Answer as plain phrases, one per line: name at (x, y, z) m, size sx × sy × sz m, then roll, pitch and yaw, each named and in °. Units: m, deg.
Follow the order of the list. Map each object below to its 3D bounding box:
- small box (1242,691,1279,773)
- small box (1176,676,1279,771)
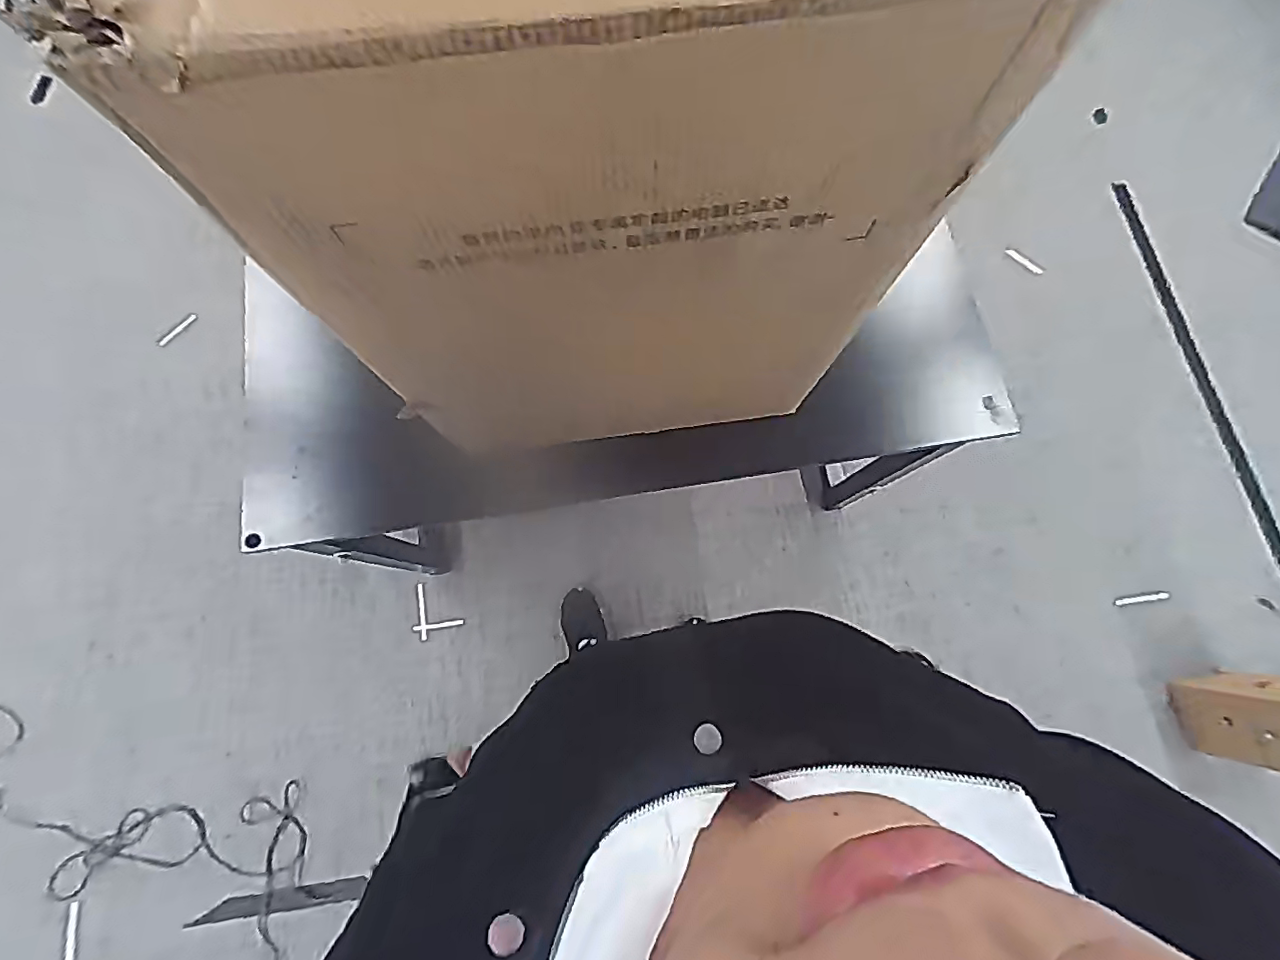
small box at (1.520, 0.563, 1.191) m, size 0.179 × 0.176 × 0.168 m, roll -8°, pitch 76°, yaw -2°
small box at (1.517, 0.597, 1.352) m, size 0.168 × 0.176 × 0.179 m, roll -12°, pitch 77°, yaw -3°
